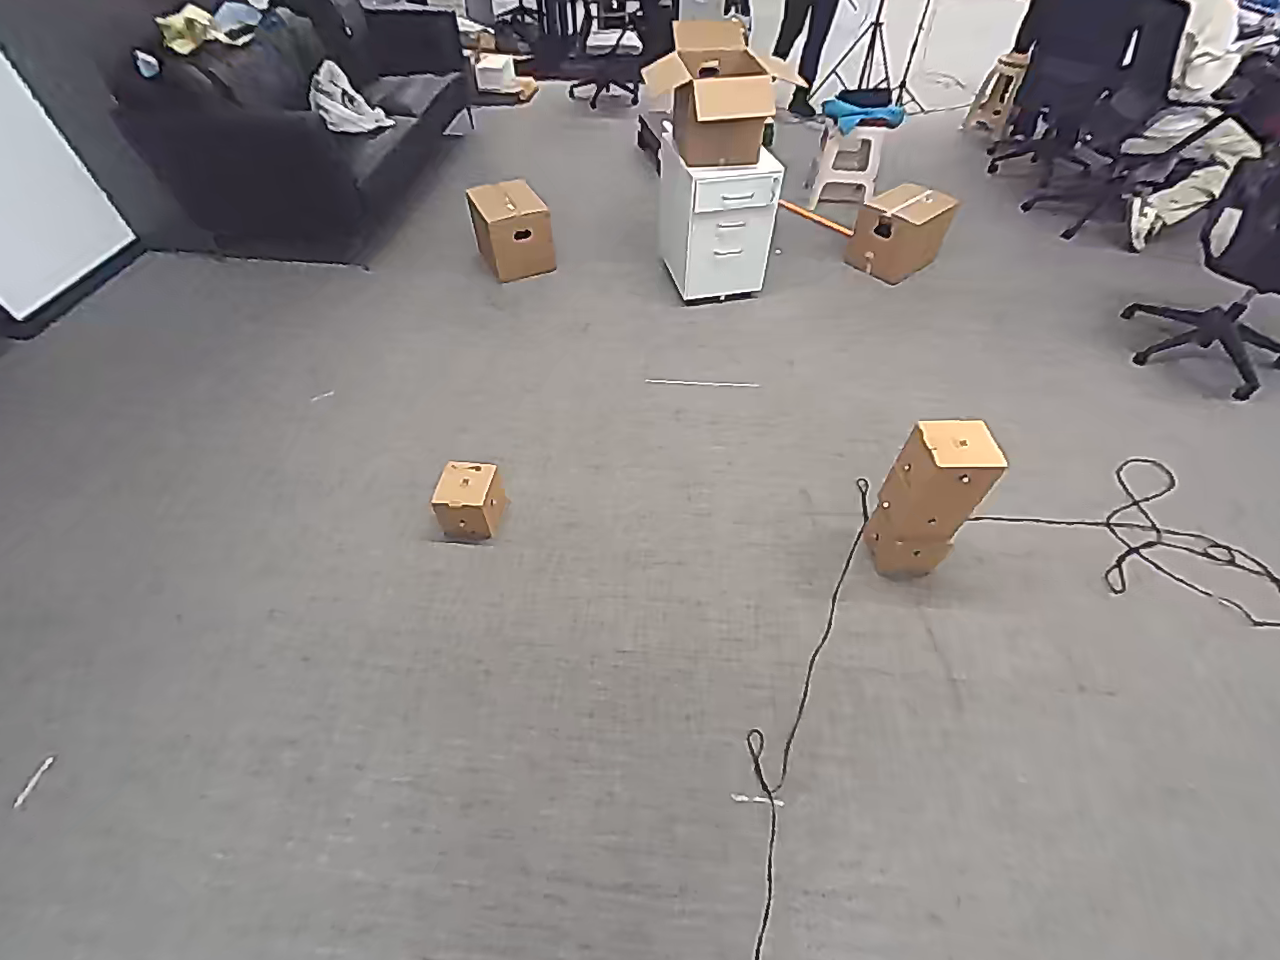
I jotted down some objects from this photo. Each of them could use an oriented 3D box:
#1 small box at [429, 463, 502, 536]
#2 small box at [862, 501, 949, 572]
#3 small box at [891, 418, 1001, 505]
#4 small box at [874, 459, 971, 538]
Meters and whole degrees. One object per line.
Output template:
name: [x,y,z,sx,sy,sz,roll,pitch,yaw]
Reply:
small box: [-0.564,0.068,1.776,0.168,0.176,0.179,4,50,4]
small box: [0.811,0.174,1.678,0.179,0.176,0.168,-2,50,-2]
small box: [0.802,-0.047,1.437,0.179,0.176,0.168,-1,49,1]
small box: [0.808,0.055,1.565,0.179,0.176,0.168,0,49,1]
